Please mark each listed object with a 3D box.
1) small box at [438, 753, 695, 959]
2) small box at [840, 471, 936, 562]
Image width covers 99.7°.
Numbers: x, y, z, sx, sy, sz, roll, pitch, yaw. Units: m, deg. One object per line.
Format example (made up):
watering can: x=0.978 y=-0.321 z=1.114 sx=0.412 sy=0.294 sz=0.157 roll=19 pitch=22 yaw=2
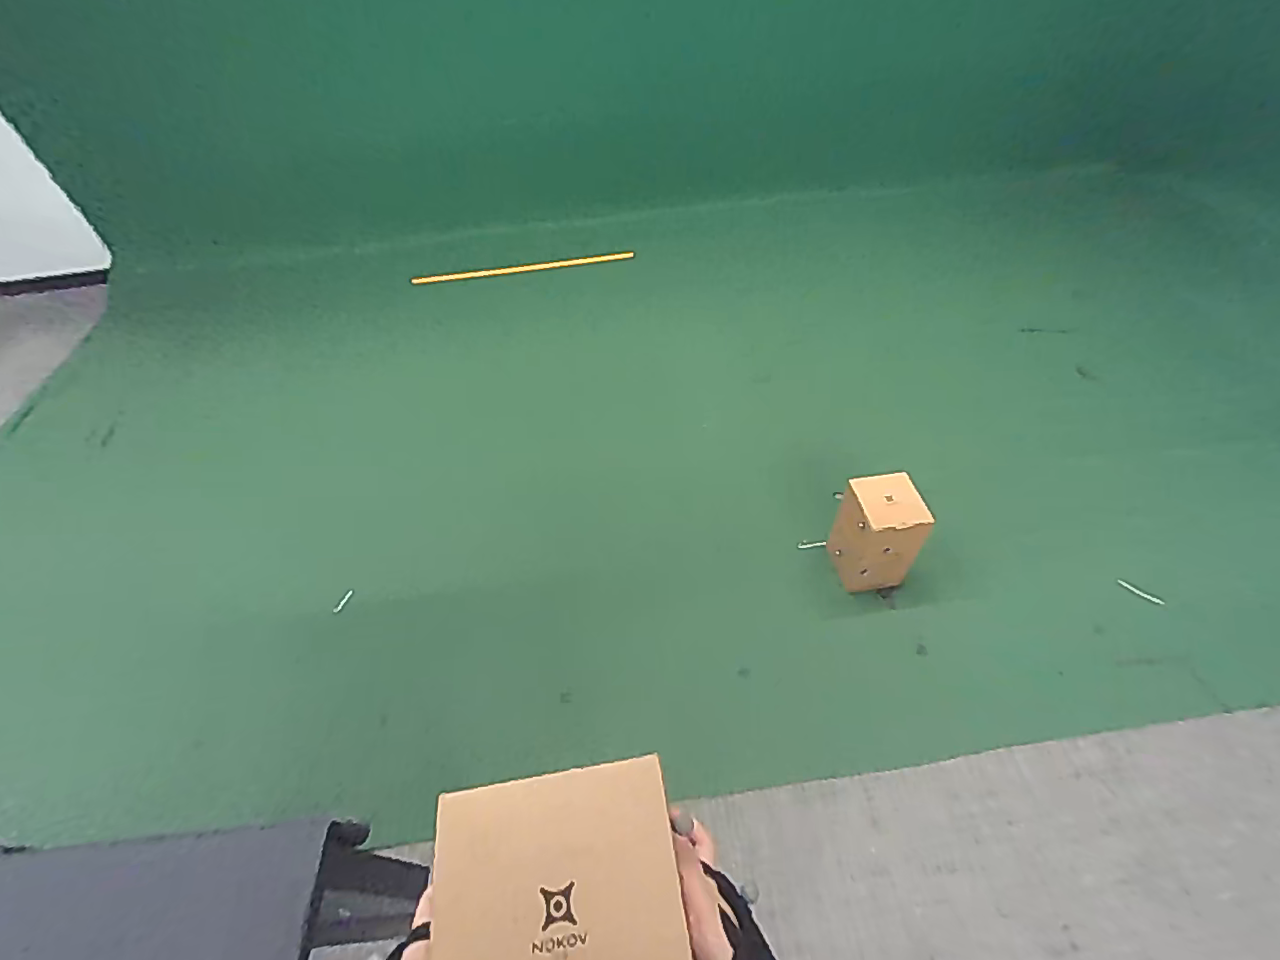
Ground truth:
small box: x=-0.047 y=0.336 z=0.422 sx=0.168 sy=0.176 sz=0.179 roll=-10 pitch=53 yaw=-2
small box: x=0.674 y=0.103 z=1.497 sx=0.168 sy=0.176 sz=0.179 roll=-9 pitch=49 yaw=-2
